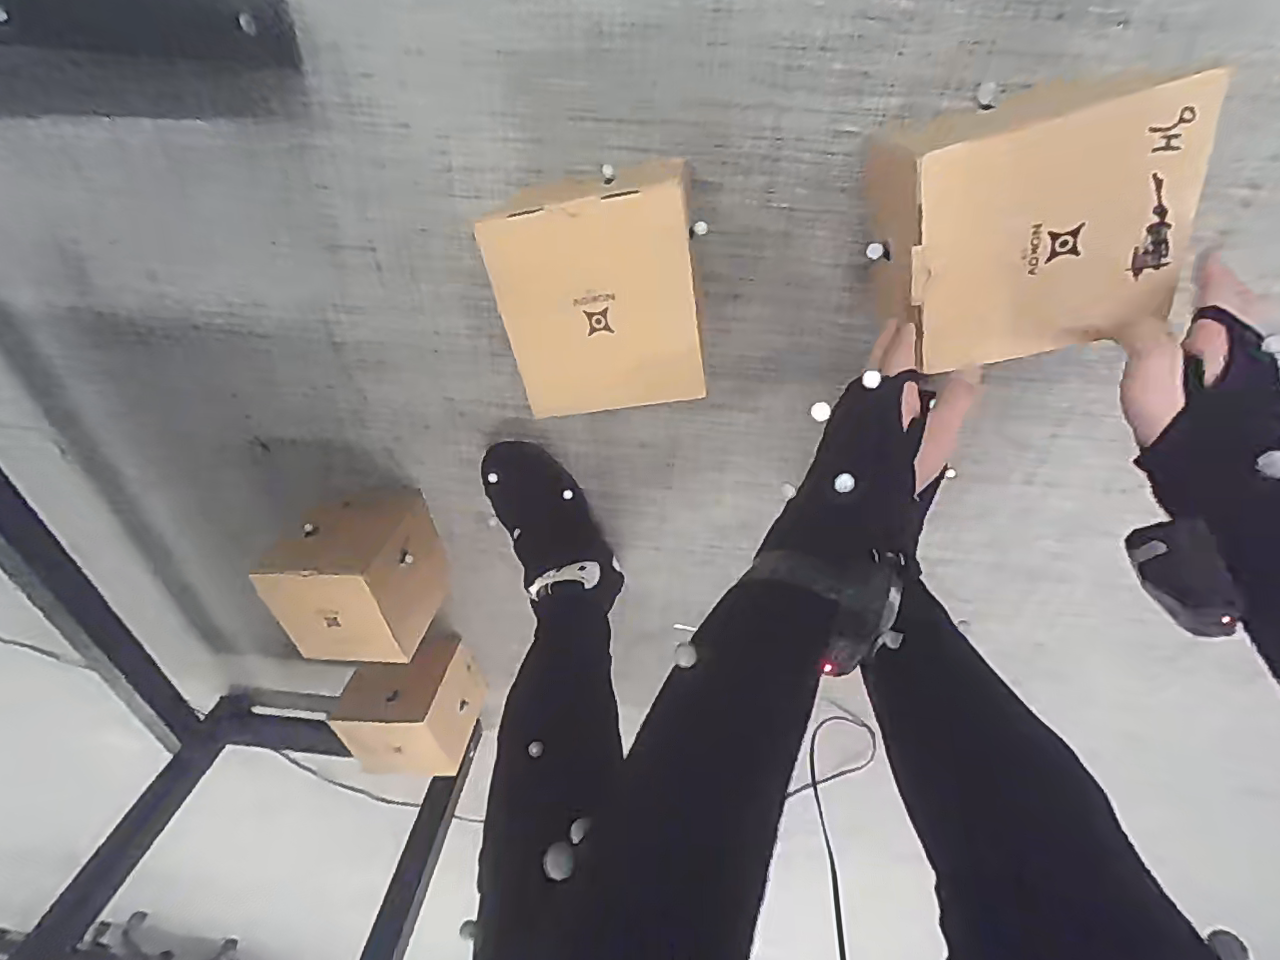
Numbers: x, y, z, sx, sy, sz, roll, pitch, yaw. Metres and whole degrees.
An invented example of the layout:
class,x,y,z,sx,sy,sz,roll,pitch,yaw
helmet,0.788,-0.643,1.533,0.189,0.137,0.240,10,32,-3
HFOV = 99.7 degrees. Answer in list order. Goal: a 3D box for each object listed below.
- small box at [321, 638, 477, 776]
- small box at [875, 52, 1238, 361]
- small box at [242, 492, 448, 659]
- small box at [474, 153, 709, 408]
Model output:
class,x,y,z,sx,sy,sz,roll,pitch,yaw
small box,-0.404,0.392,0.950,0.179,0.176,0.168,-2,124,8
small box,0.300,-0.219,0.446,0.179,0.176,0.168,-9,123,14
small box,-0.400,0.130,0.771,0.168,0.176,0.179,0,125,8
small box,-0.025,-0.189,0.508,0.168,0.176,0.179,-5,123,10
